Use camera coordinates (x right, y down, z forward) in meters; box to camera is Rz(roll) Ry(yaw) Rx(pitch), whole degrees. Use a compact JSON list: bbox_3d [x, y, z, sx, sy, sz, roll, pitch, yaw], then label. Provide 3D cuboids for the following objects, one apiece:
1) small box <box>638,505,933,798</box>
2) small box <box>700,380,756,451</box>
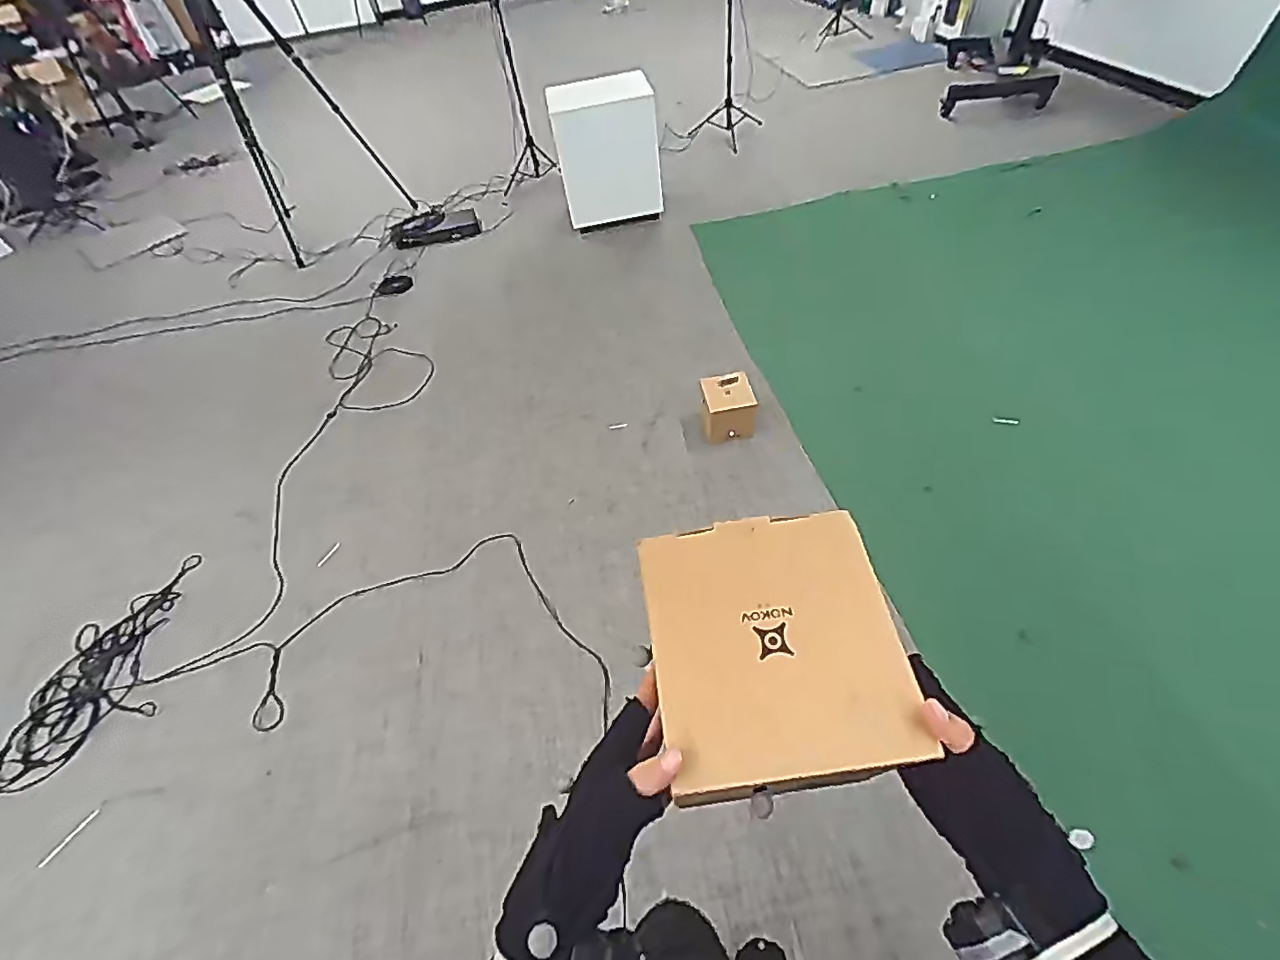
[{"bbox_3d":[0.095,0.146,0.436,0.168,0.176,0.179,-8,54,0],"label":"small box"},{"bbox_3d":[0.313,-0.232,1.952,0.168,0.176,0.179,-10,51,-1],"label":"small box"}]
